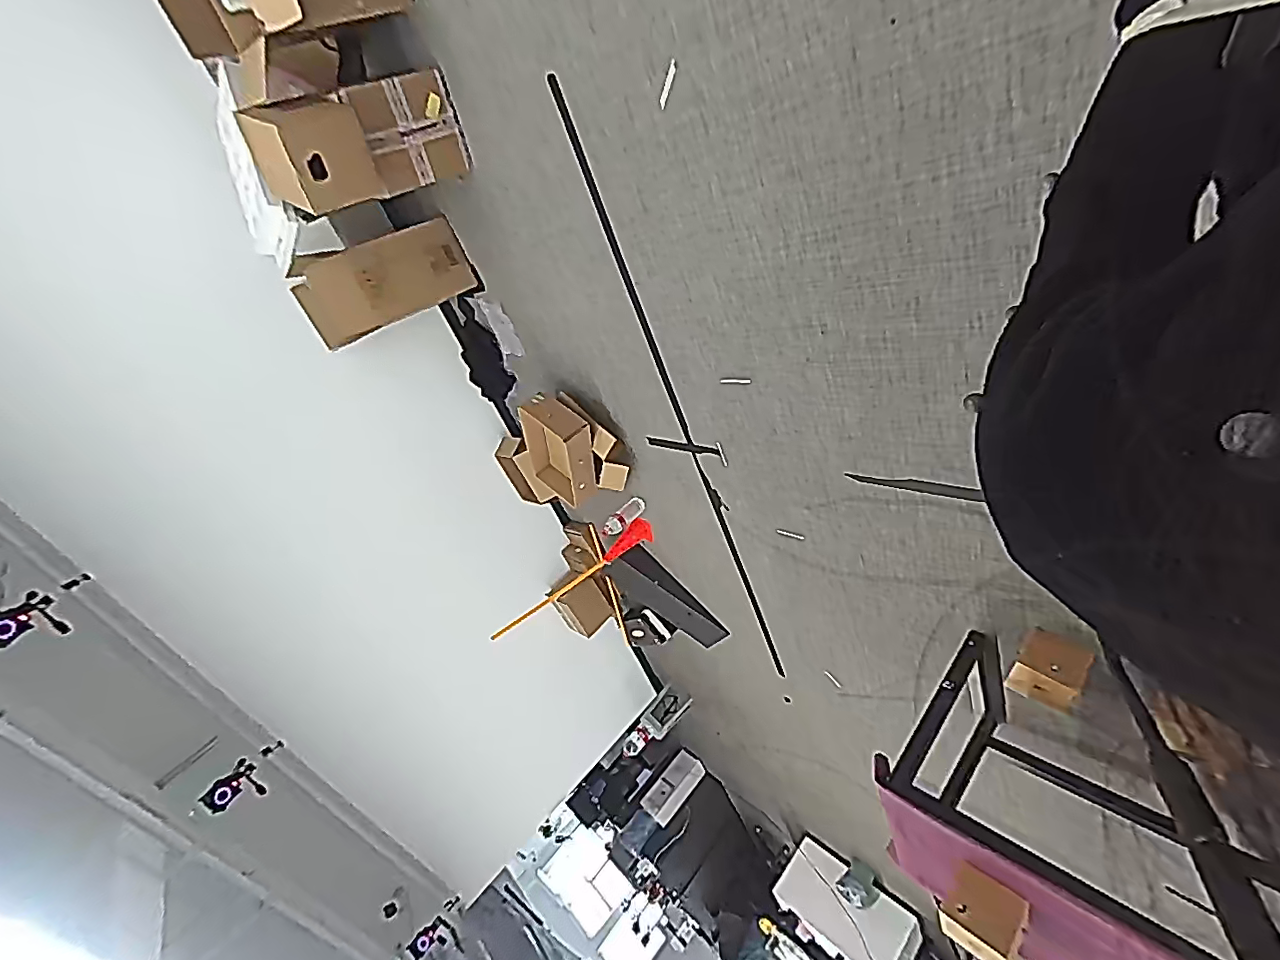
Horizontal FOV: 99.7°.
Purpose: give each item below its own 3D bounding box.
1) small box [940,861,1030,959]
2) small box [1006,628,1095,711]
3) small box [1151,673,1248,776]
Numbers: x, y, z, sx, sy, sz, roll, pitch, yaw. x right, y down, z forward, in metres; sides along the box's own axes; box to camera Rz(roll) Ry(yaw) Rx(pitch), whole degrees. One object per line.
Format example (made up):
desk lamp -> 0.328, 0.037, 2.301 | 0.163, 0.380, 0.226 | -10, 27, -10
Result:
small box -> 1.008, 1.260, 1.580 | 0.179, 0.176, 0.168 | 15, 138, 48
small box -> 1.384, 0.629, 1.825 | 0.179, 0.176, 0.168 | 27, 145, 35
small box -> 1.615, 0.699, 1.561 | 0.168, 0.176, 0.179 | 13, 134, 50
